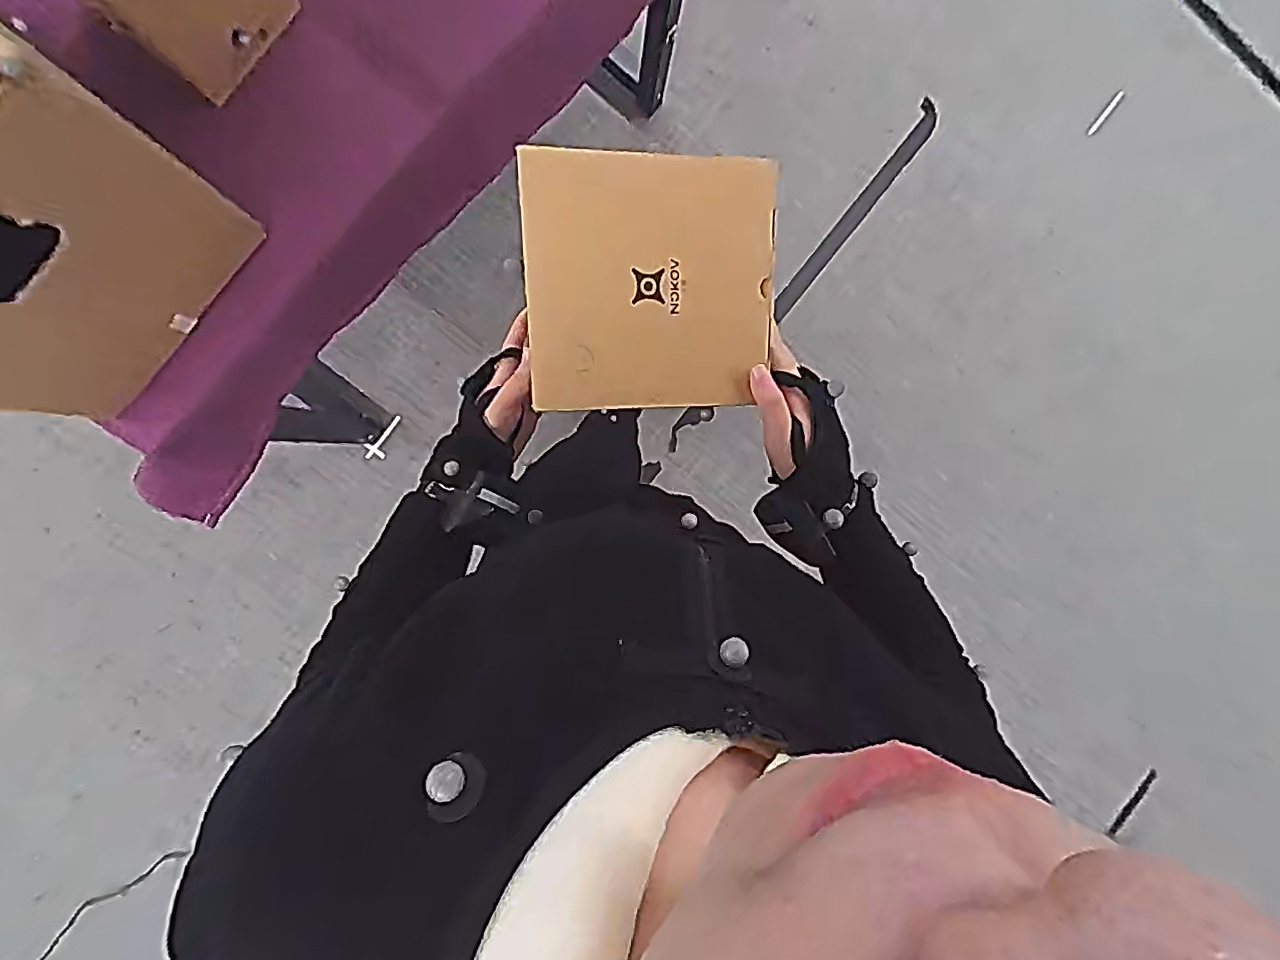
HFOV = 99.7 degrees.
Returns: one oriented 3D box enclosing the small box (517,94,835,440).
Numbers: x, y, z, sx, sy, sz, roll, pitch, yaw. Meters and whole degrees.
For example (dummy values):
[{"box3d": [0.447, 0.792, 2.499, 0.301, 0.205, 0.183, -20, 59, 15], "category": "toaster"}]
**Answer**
[{"box3d": [0.020, -0.139, 0.411, 0.168, 0.176, 0.179, -9, 87, -29], "category": "small box"}]
